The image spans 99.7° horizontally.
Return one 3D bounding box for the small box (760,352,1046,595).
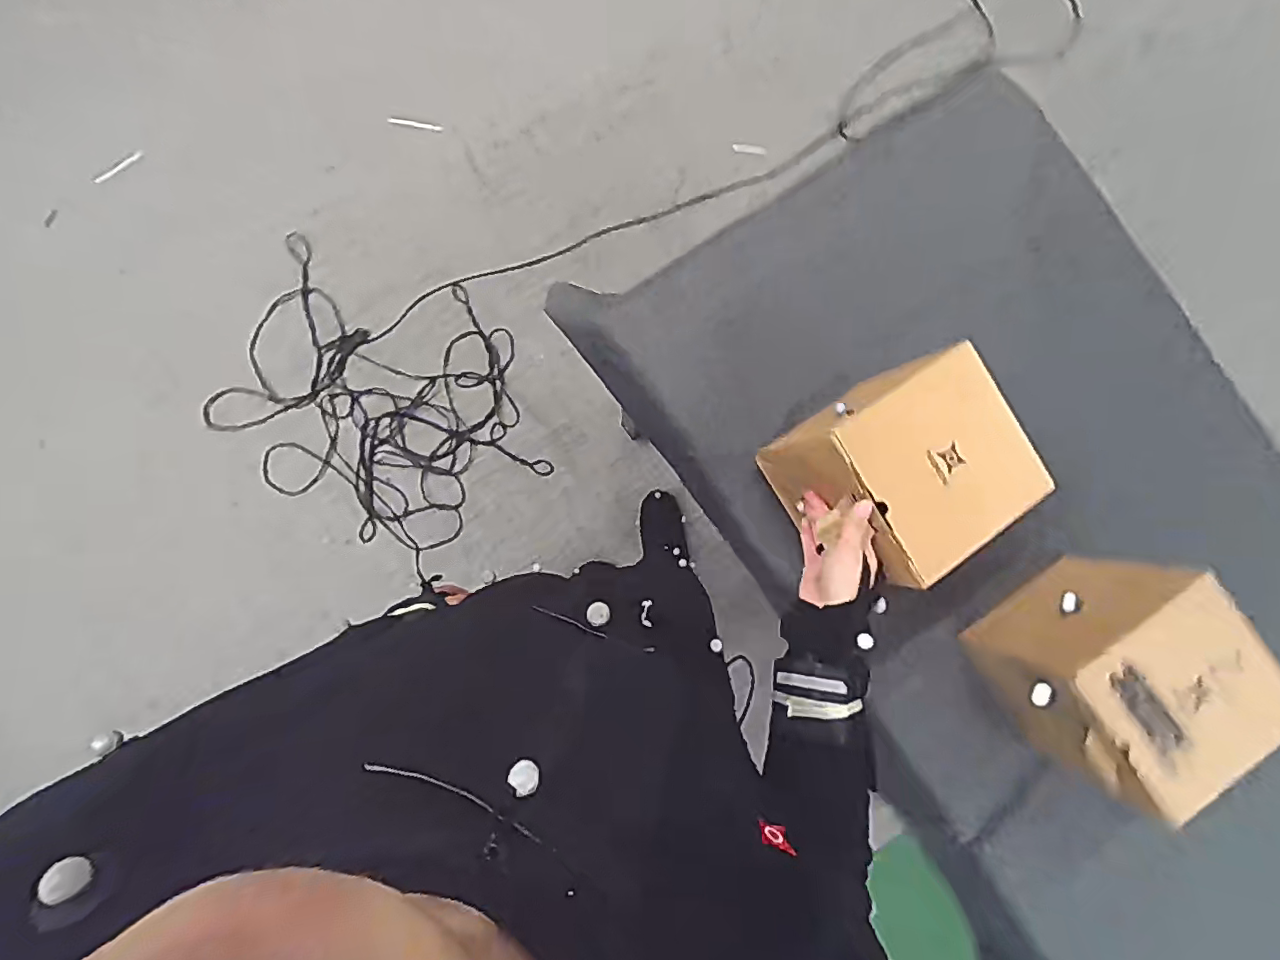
[{"bbox_3d":[0.261,-0.007,0.571,0.179,0.176,0.168,-33,95,-12],"label":"small box"}]
